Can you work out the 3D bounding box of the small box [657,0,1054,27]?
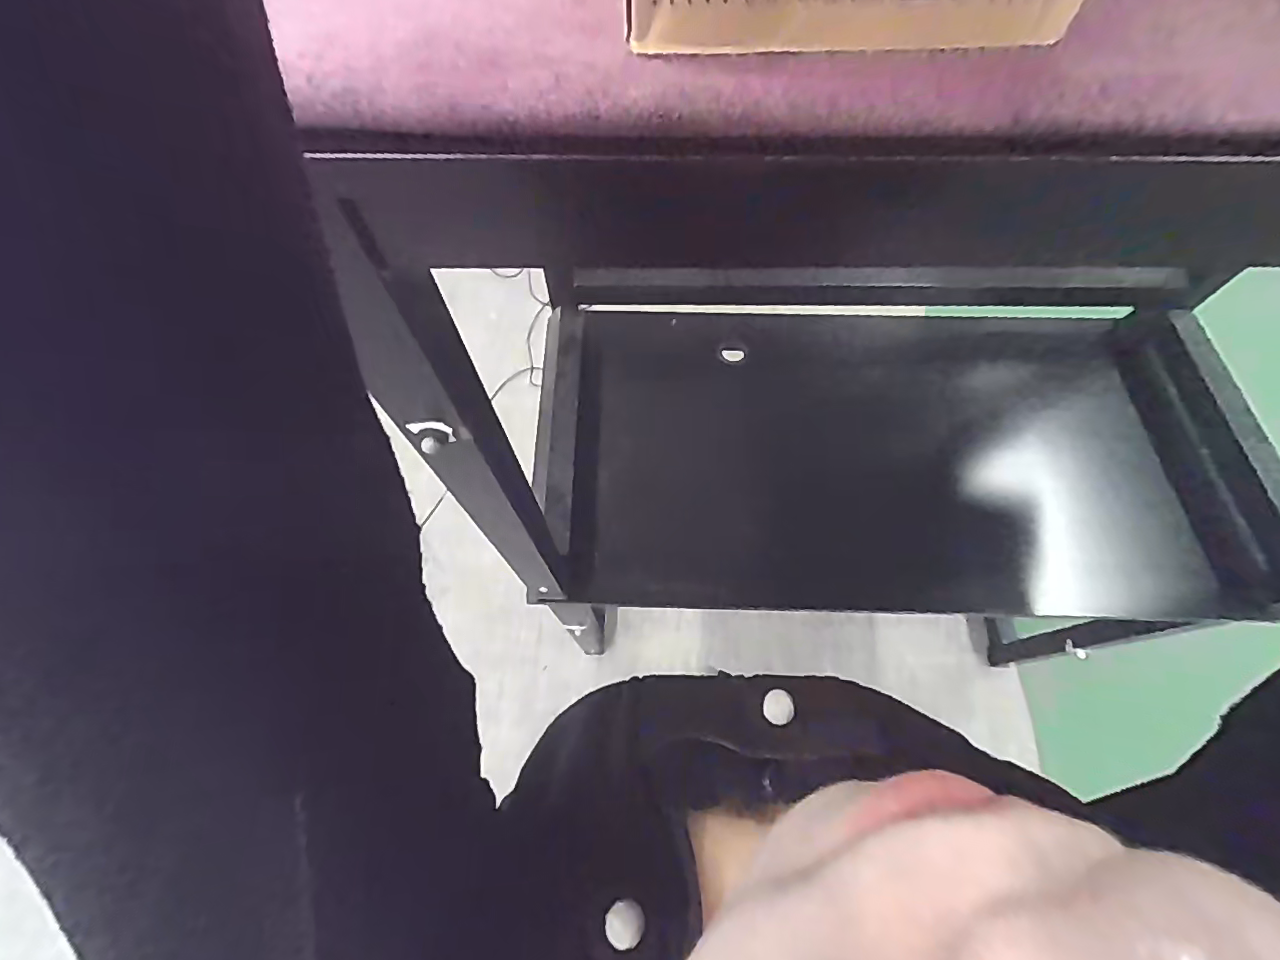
[{"bbox_3d":[0.074,-0.281,0.162,0.168,0.176,0.179,-2,66,-1],"label":"small box"}]
